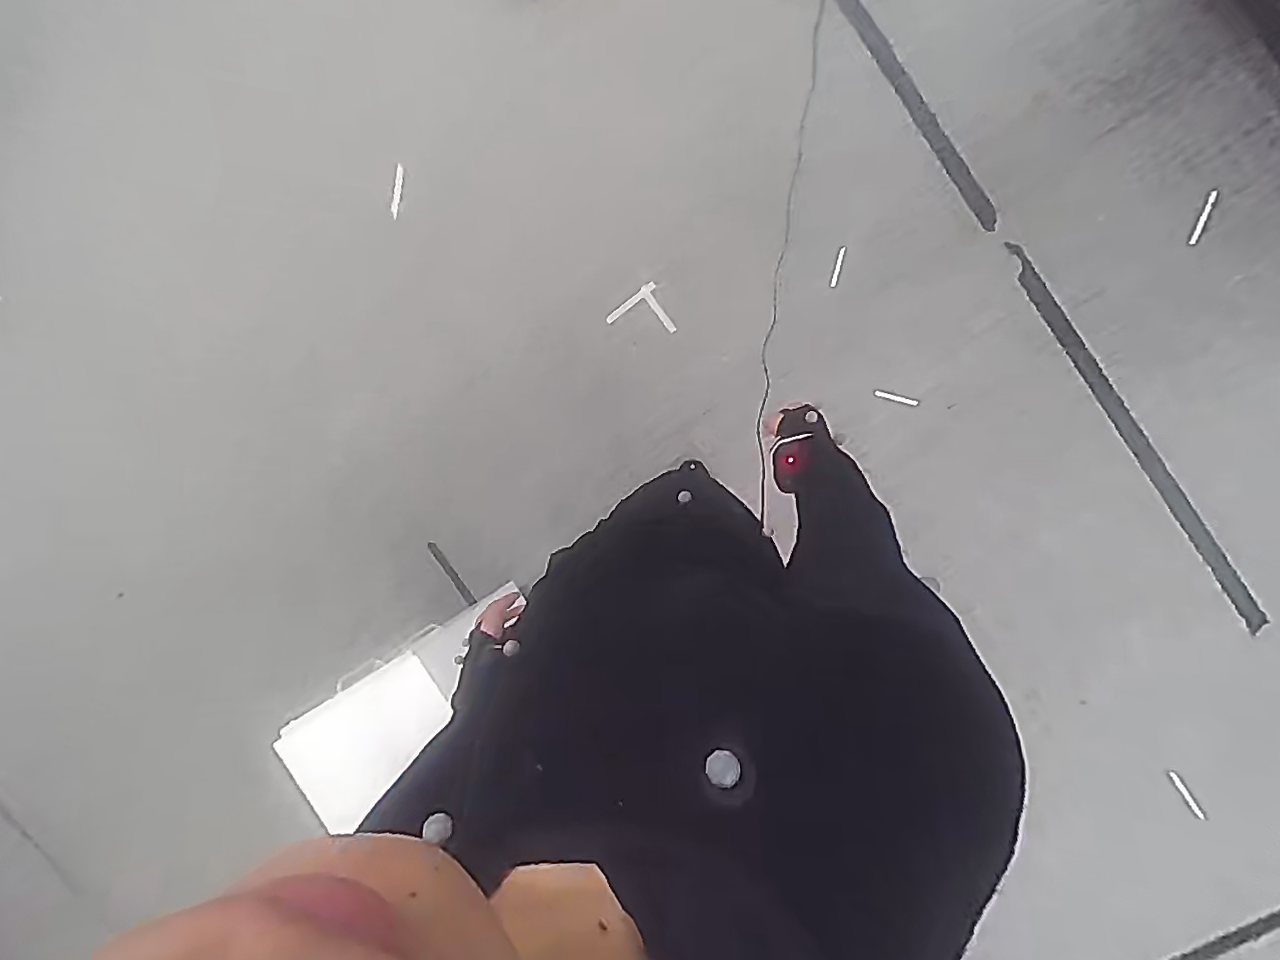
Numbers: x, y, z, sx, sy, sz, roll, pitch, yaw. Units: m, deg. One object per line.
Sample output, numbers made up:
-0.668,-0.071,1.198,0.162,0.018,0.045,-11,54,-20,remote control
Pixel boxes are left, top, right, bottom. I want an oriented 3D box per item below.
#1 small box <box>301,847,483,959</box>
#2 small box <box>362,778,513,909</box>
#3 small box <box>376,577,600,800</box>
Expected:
-0.389,0.737,0.867,0.168,0.176,0.179,-36,92,10,small box
-0.374,0.716,1.029,0.179,0.176,0.168,-31,91,9,small box
-0.185,0.236,0.640,0.176,0.179,0.168,39,73,-29,small box
